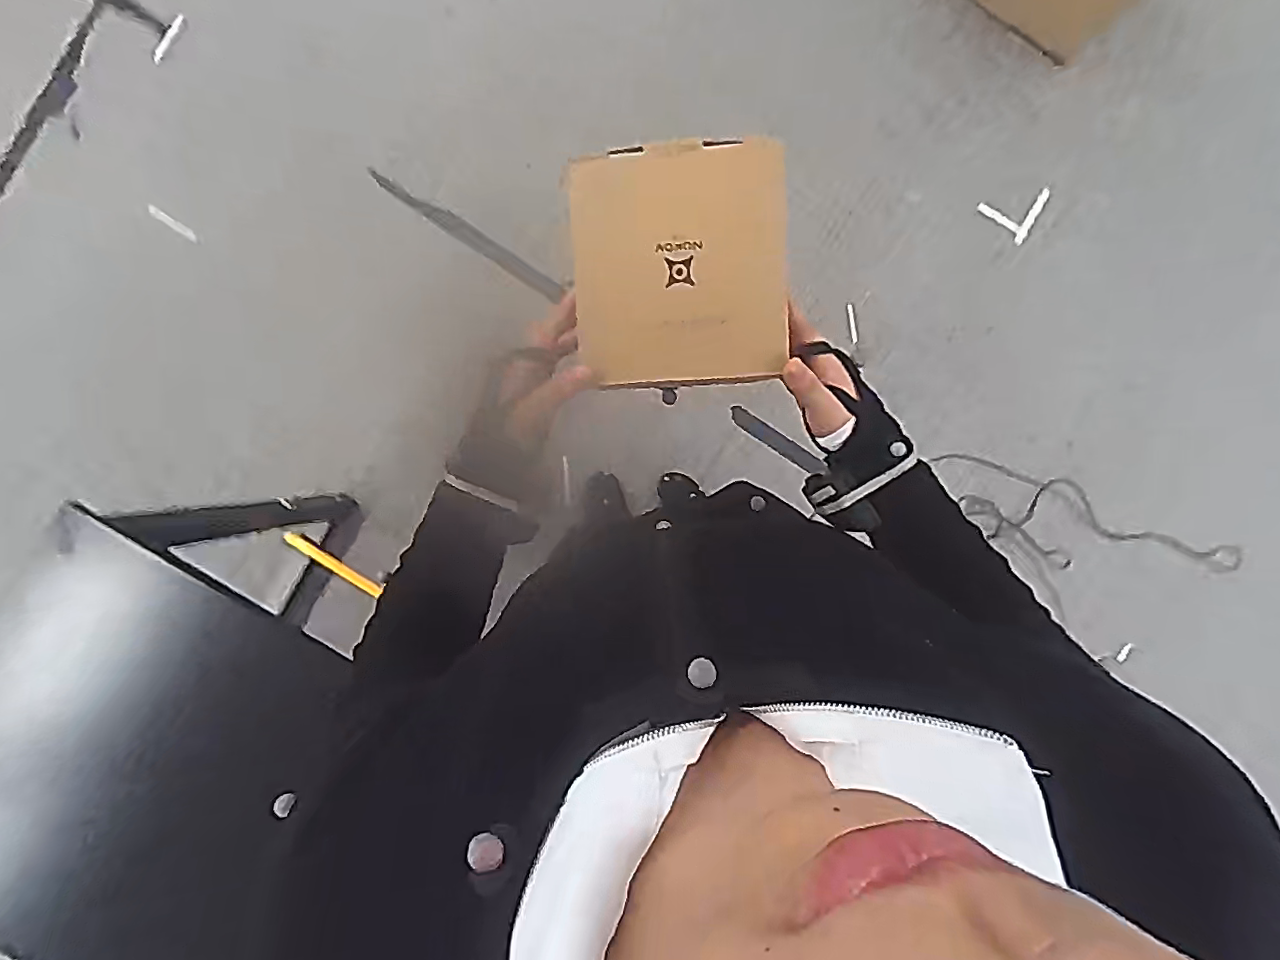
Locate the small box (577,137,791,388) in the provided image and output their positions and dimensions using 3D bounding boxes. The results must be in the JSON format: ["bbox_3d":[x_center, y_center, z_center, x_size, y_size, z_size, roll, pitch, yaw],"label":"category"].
[{"bbox_3d":[0.037,-0.178,0.495,0.168,0.176,0.179,-2,98,3],"label":"small box"}]

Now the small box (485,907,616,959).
[{"bbox_3d":[-0.133,0.711,0.693,0.179,0.176,0.168,33,90,0],"label":"small box"}]
